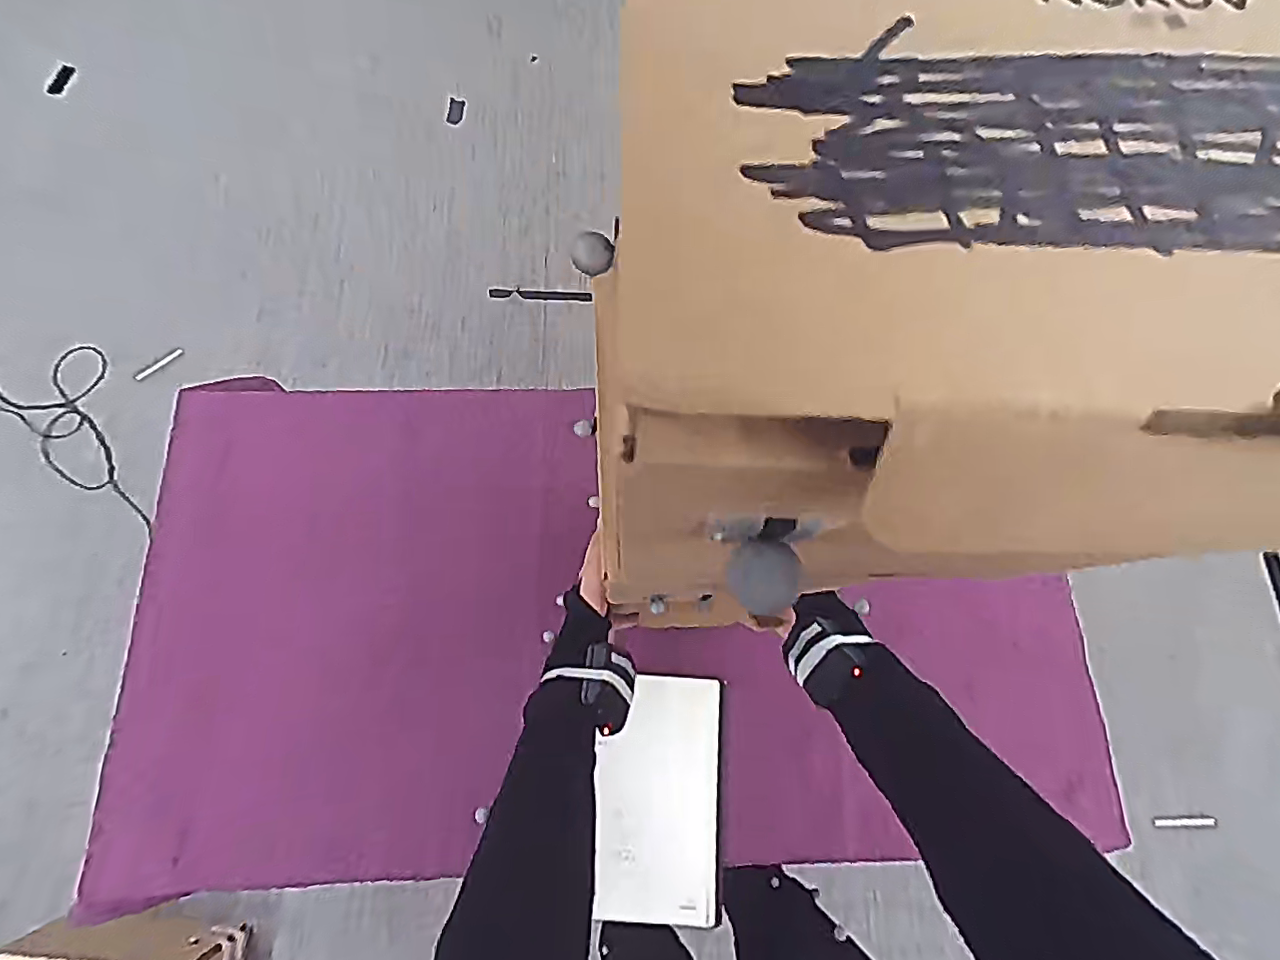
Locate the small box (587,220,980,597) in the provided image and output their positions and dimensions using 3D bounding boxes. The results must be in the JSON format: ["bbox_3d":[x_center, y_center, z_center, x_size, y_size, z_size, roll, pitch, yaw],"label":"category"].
[{"bbox_3d":[0.056,-0.023,0.323,0.168,0.176,0.179,-2,74,-3],"label":"small box"}]

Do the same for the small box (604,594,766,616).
[{"bbox_3d":[0.044,0.070,0.638,0.168,0.176,0.179,0,75,-3],"label":"small box"}]
